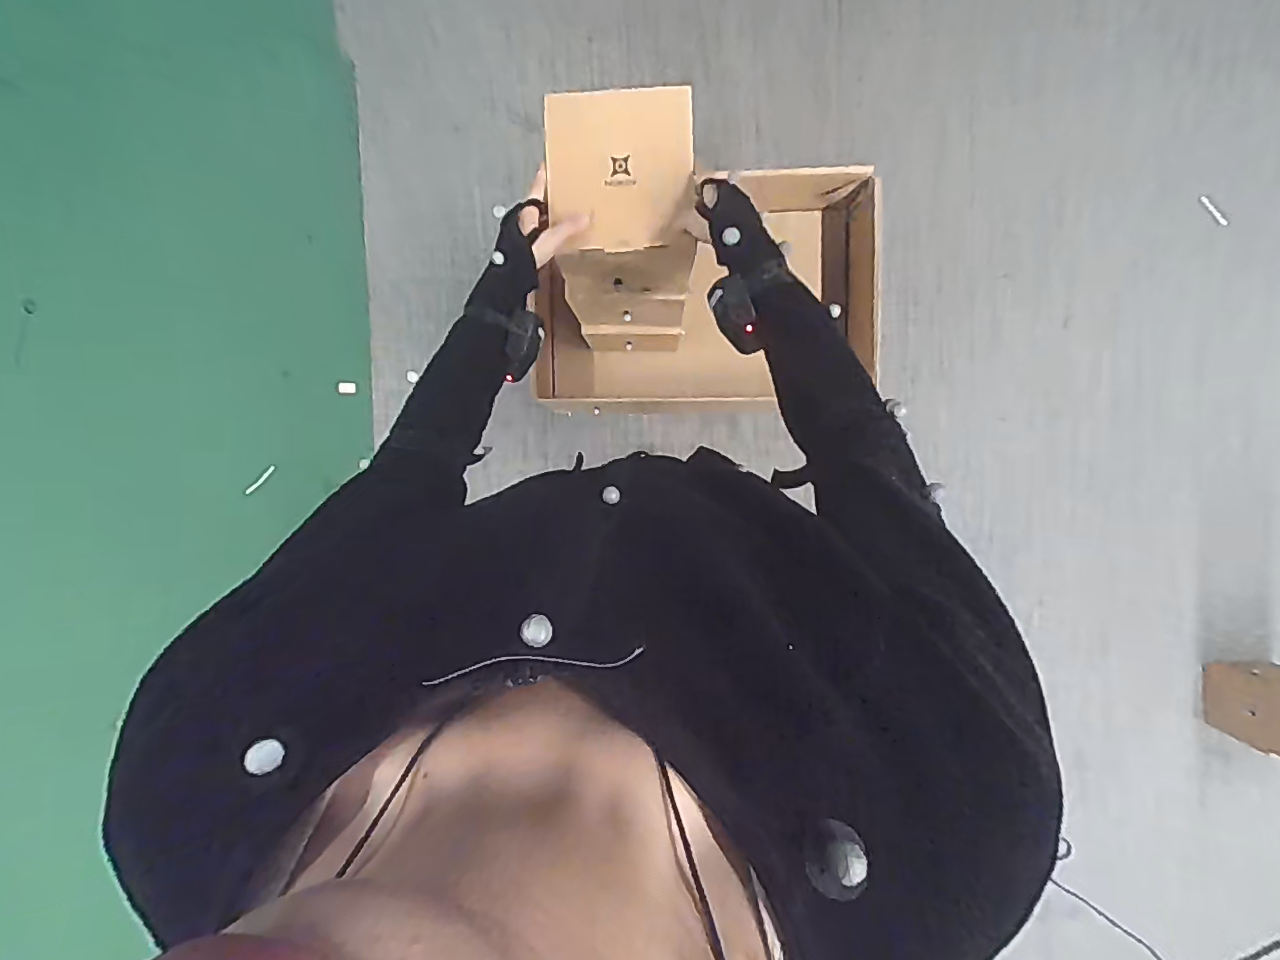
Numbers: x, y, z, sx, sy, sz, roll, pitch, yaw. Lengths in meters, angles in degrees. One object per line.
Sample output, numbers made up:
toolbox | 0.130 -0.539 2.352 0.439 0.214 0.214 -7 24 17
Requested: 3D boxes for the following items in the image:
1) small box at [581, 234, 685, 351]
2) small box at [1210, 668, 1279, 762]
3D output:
small box | -0.010 -0.338 0.999 0.179 0.176 0.168 1 92 2
small box | 1.615 0.588 1.374 0.168 0.176 0.179 -3 92 3
